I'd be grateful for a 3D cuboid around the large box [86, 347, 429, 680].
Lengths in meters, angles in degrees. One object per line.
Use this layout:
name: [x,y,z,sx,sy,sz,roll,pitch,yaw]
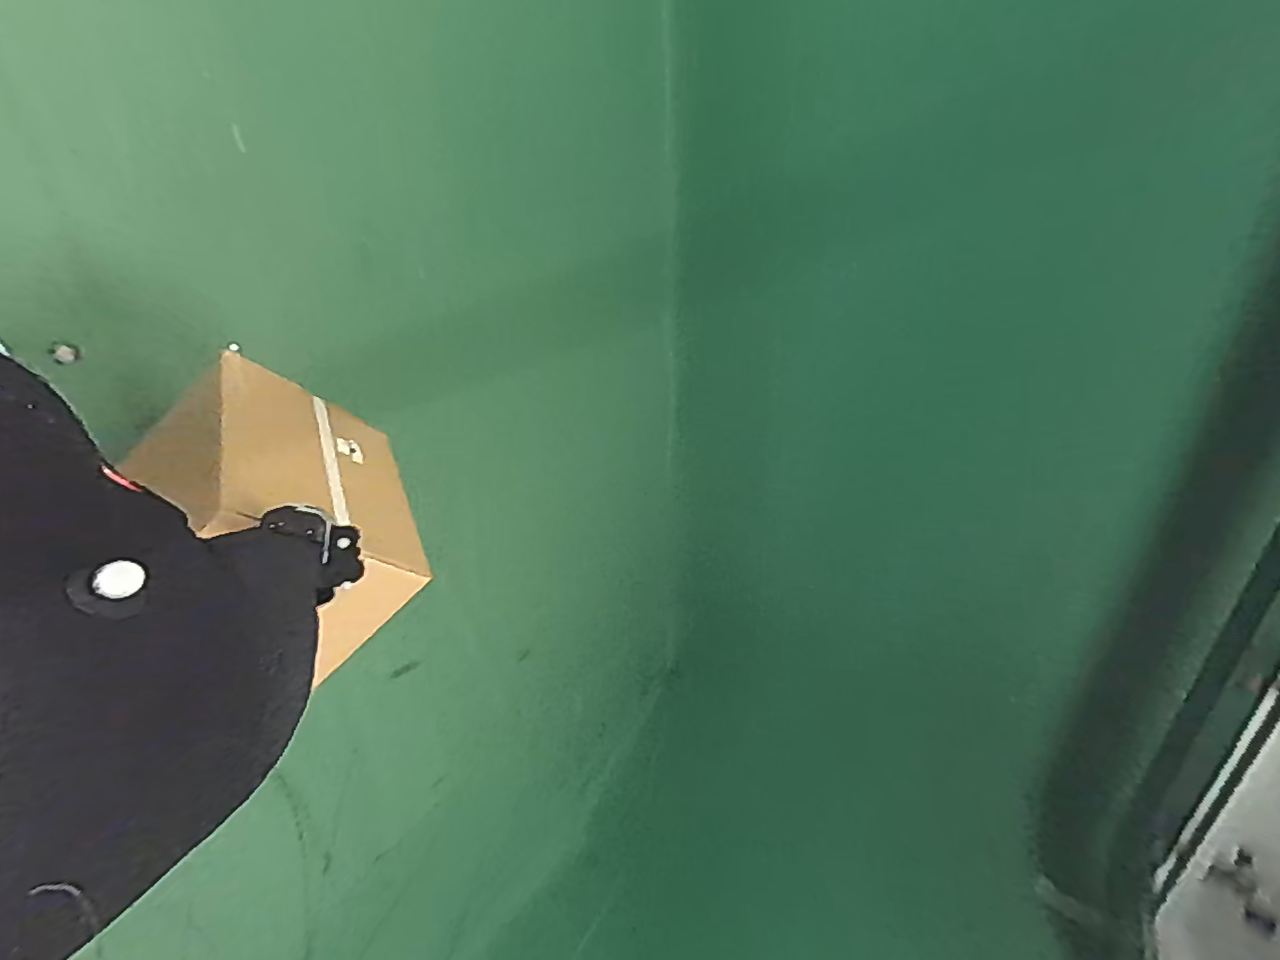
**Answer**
large box: [-0.619,0.064,0.898,0.320,0.408,0.320,-43,141,6]
